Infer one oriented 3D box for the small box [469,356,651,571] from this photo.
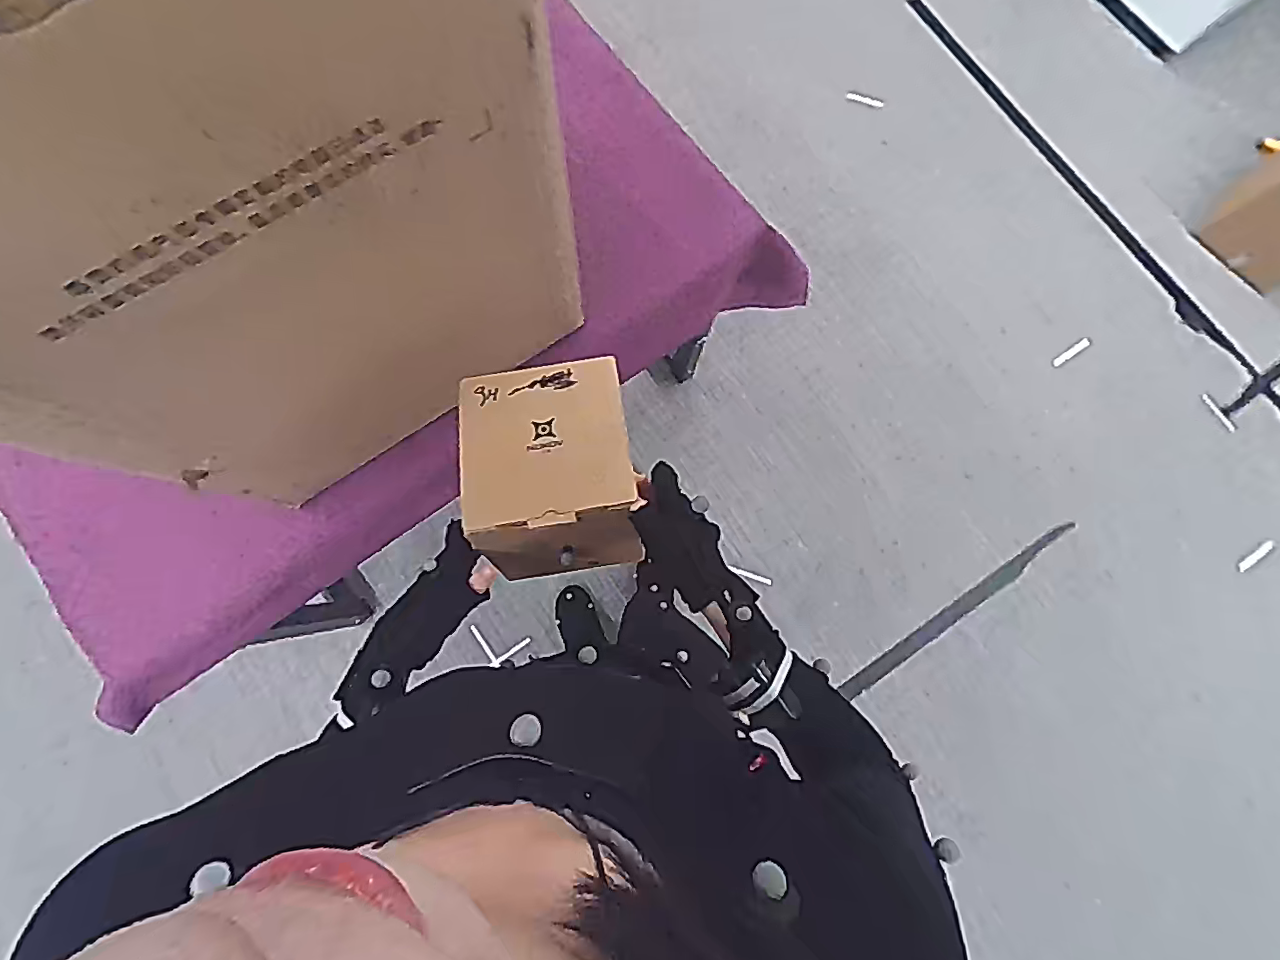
[{"bbox_3d":[-0.081,-0.007,0.594,0.168,0.176,0.179,-8,64,-2],"label":"small box"}]
